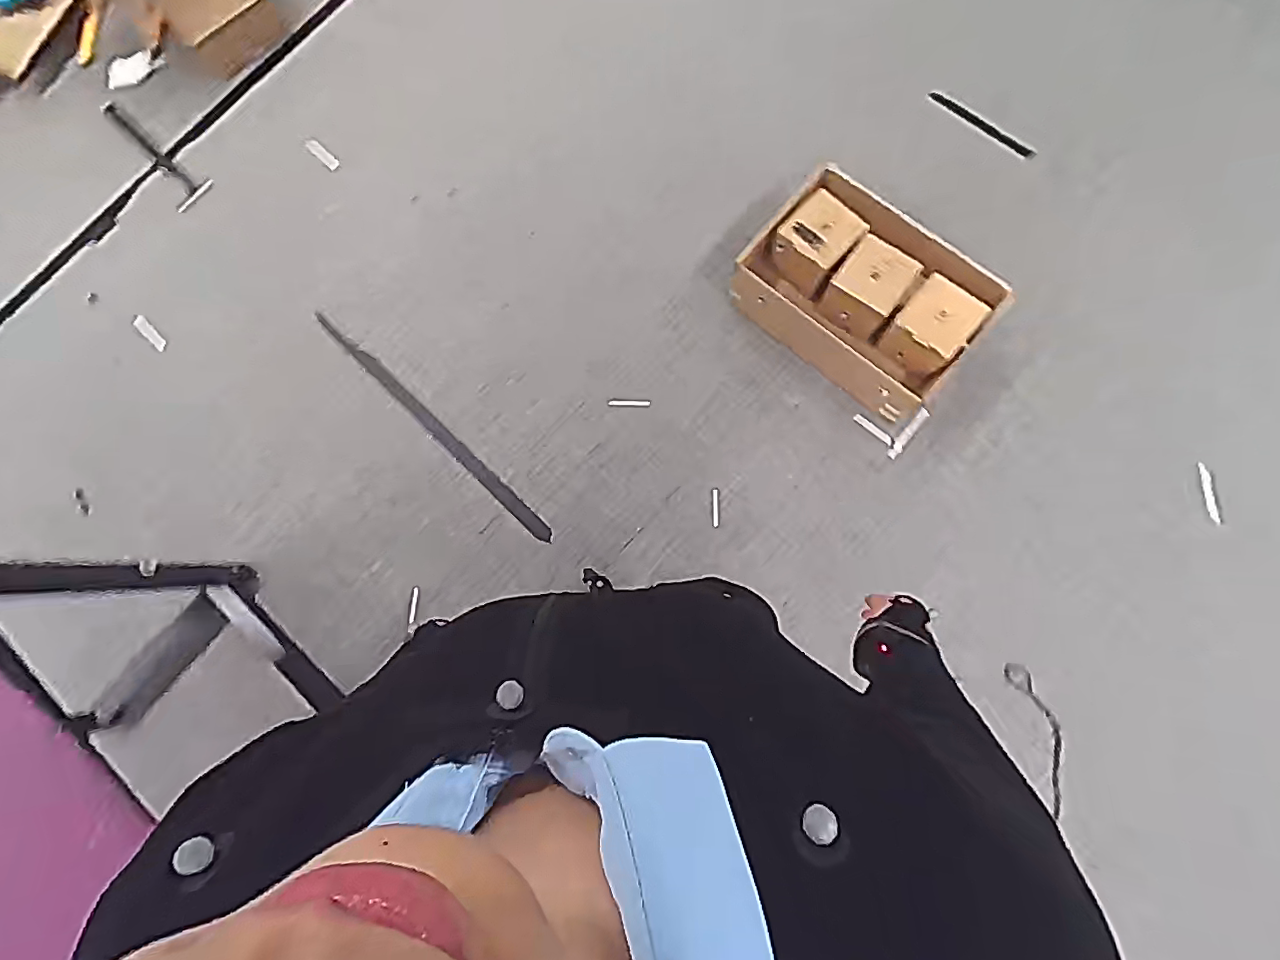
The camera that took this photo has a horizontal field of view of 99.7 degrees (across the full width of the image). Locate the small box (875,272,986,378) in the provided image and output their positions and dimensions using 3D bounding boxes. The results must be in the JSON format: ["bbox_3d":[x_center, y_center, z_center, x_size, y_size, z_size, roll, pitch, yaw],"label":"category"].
[{"bbox_3d":[0.764,-0.407,1.445,0.168,0.176,0.179,40,86,11],"label":"small box"}]

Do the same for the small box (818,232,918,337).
[{"bbox_3d":[0.608,-0.522,1.475,0.168,0.176,0.179,36,84,7],"label":"small box"}]
